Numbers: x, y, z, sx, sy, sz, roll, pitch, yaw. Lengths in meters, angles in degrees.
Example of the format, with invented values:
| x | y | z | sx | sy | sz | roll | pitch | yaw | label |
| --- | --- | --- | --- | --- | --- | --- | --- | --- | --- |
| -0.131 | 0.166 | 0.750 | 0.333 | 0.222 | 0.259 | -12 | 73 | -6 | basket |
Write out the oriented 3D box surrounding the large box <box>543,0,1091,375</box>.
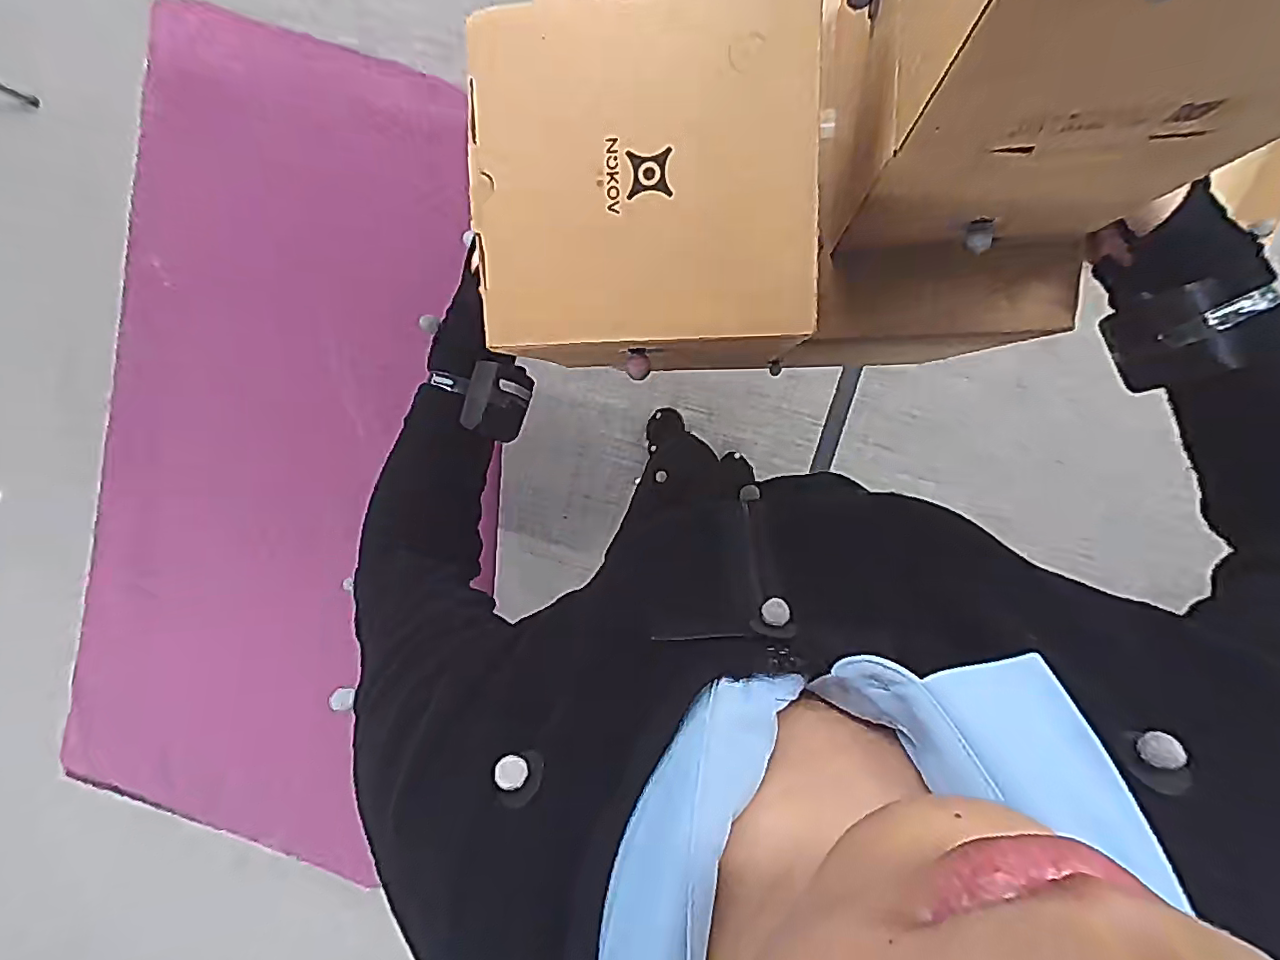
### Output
| x | y | z | sx | sy | sz | roll | pitch | yaw | label |
| --- | --- | --- | --- | --- | --- | --- | --- | --- | --- |
| 0.149 | -0.281 | 0.554 | 0.408 | 0.320 | 0.320 | -1 | 95 | 10 | large box |

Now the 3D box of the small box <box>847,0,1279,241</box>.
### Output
| x | y | z | sx | sy | sz | roll | pitch | yaw | label |
| --- | --- | --- | --- | --- | --- | --- | --- | --- | --- |
| 0.218 | -0.250 | 0.297 | 0.168 | 0.176 | 0.179 | 2 | 98 | 10 | small box |
